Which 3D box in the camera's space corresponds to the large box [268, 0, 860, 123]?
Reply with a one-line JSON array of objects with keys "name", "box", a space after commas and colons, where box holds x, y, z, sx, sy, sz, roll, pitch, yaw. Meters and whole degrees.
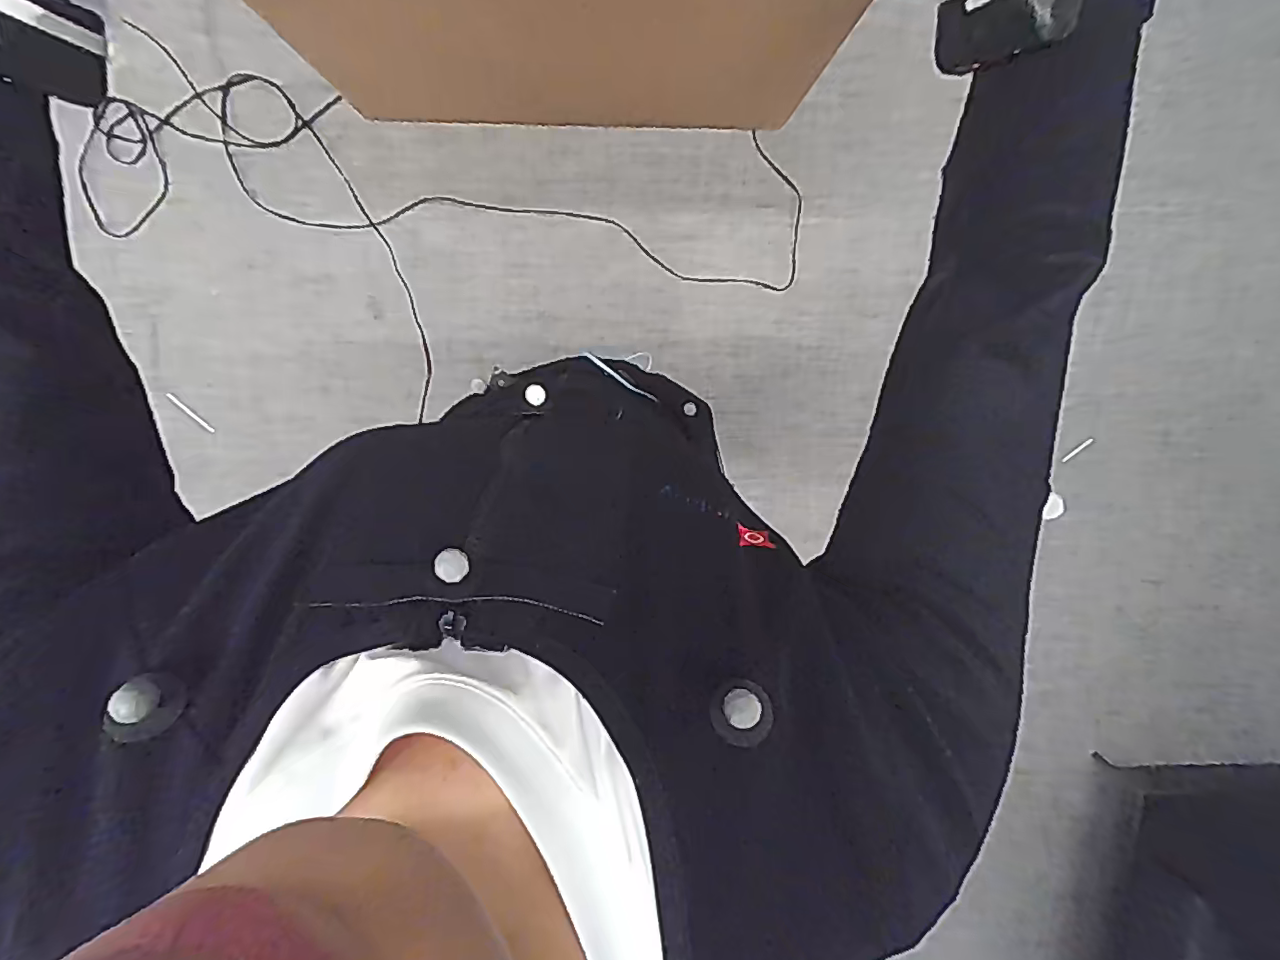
[{"name": "large box", "box": [-0.052, -0.466, 0.349, 0.408, 0.320, 0.320, -1, 102, -3]}]
